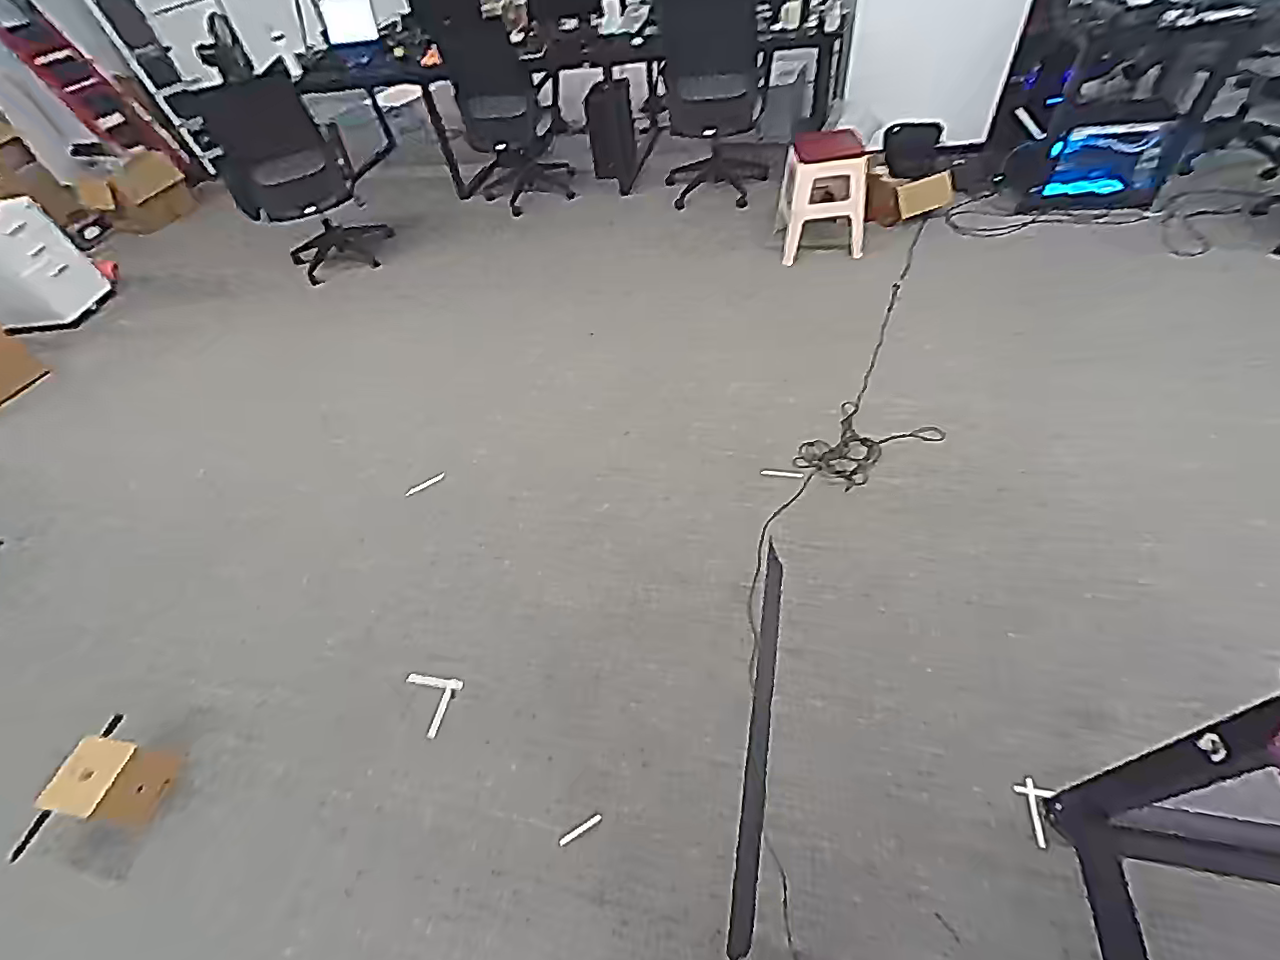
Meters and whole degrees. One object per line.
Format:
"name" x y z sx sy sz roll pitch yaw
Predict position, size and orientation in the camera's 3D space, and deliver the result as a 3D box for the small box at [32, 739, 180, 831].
"small box" -1.363 0.792 1.398 0.179 0.176 0.168 3 50 12
